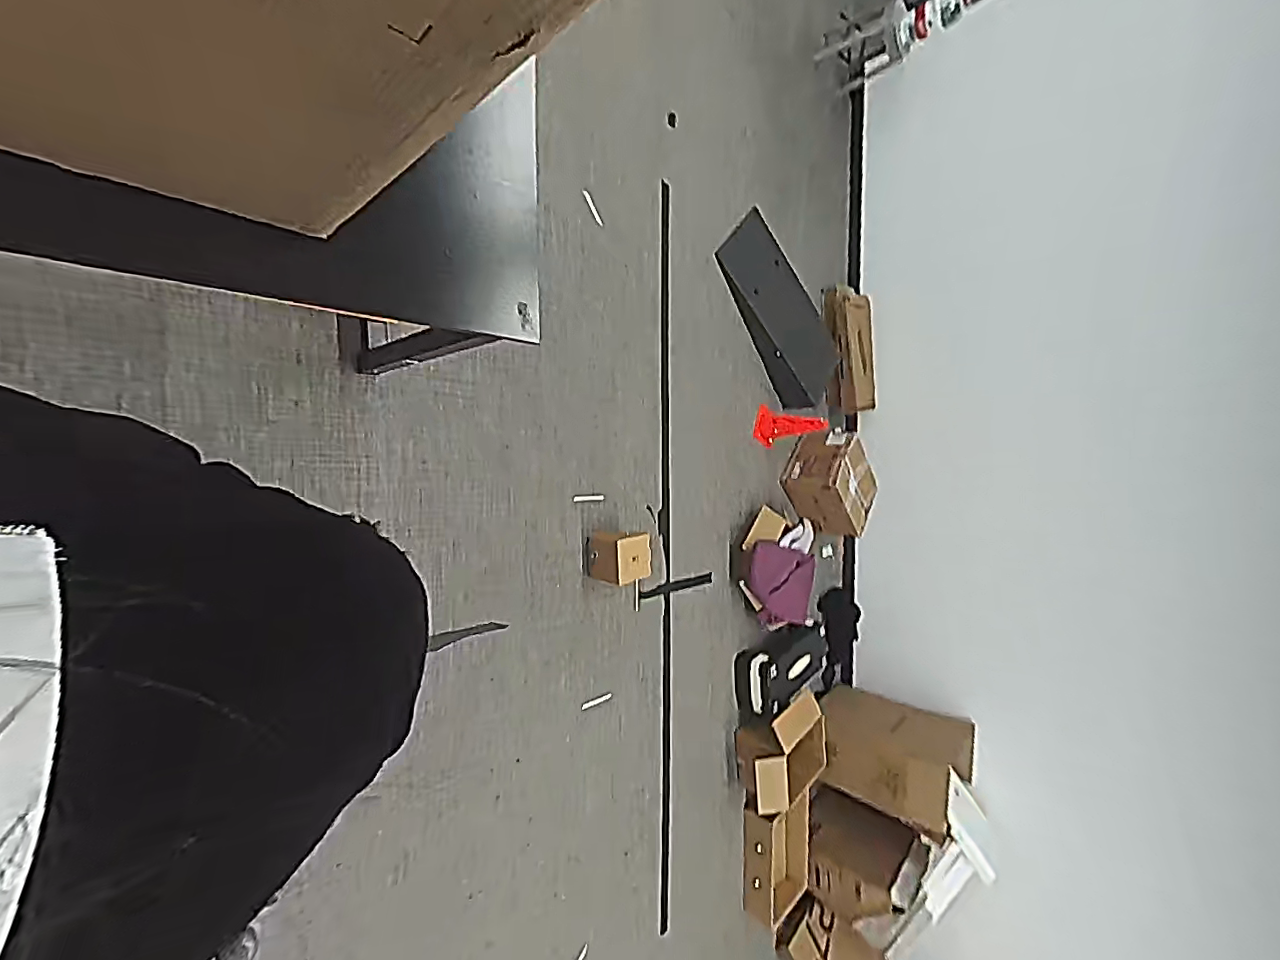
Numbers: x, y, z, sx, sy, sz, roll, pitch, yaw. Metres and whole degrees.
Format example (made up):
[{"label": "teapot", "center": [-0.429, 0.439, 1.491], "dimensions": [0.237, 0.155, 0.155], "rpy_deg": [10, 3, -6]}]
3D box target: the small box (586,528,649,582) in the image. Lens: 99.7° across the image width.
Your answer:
[{"label": "small box", "center": [-0.086, 0.279, 2.057], "dimensions": [0.179, 0.176, 0.168], "rpy_deg": [-7, 96, -45]}]
